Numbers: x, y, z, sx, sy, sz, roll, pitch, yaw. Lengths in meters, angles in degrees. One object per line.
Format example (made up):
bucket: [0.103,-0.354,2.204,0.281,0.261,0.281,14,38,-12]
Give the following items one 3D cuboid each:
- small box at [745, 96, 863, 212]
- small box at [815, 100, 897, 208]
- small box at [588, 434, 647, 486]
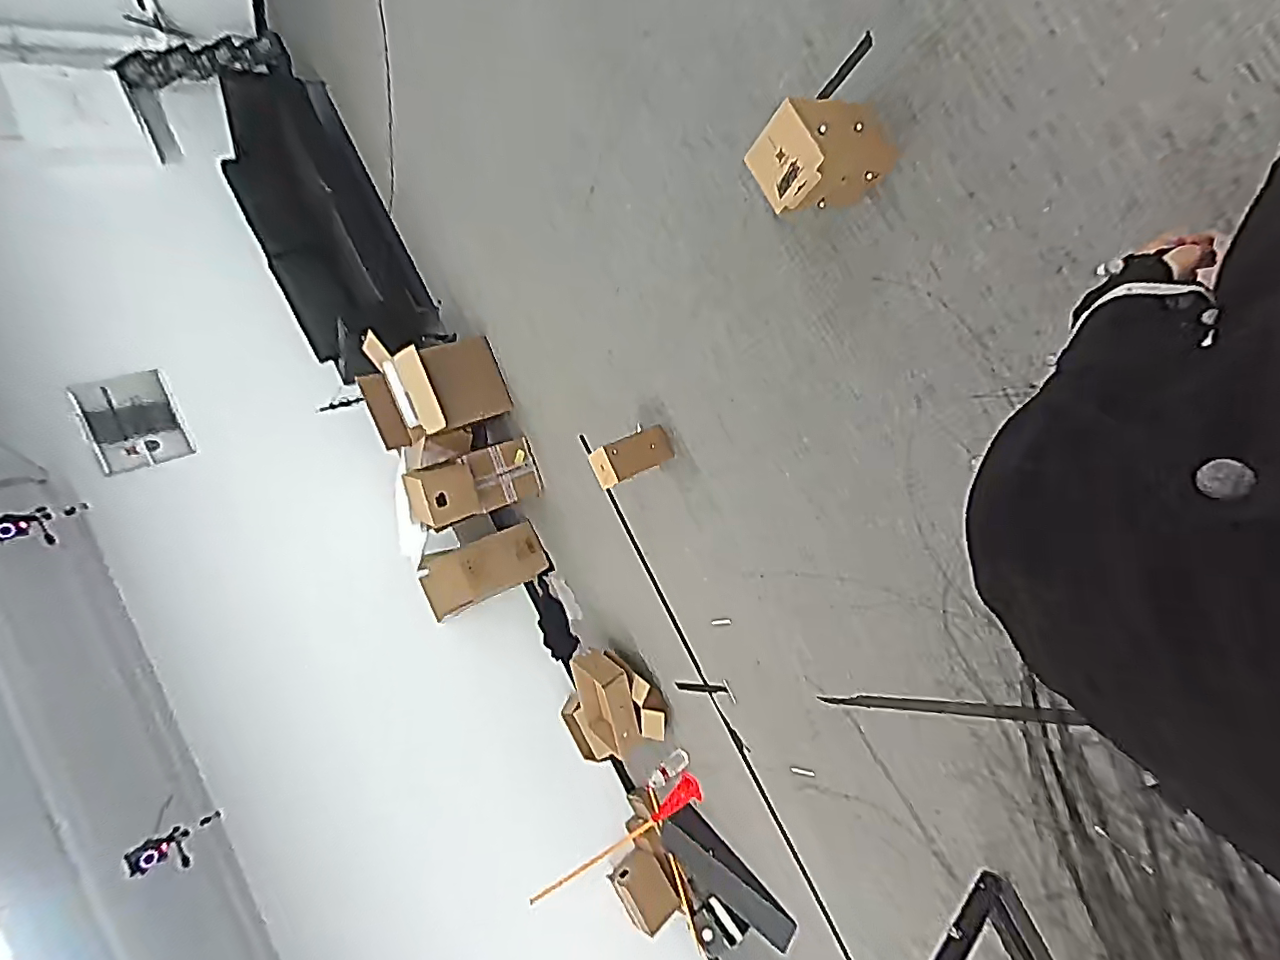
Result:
small box: [0.394,-0.778,1.292,0.179,0.176,0.168,62,147,7]
small box: [0.517,-0.835,1.386,0.179,0.176,0.168,62,146,8]
small box: [-0.099,-0.094,2.436,0.168,0.176,0.179,-25,91,58]
